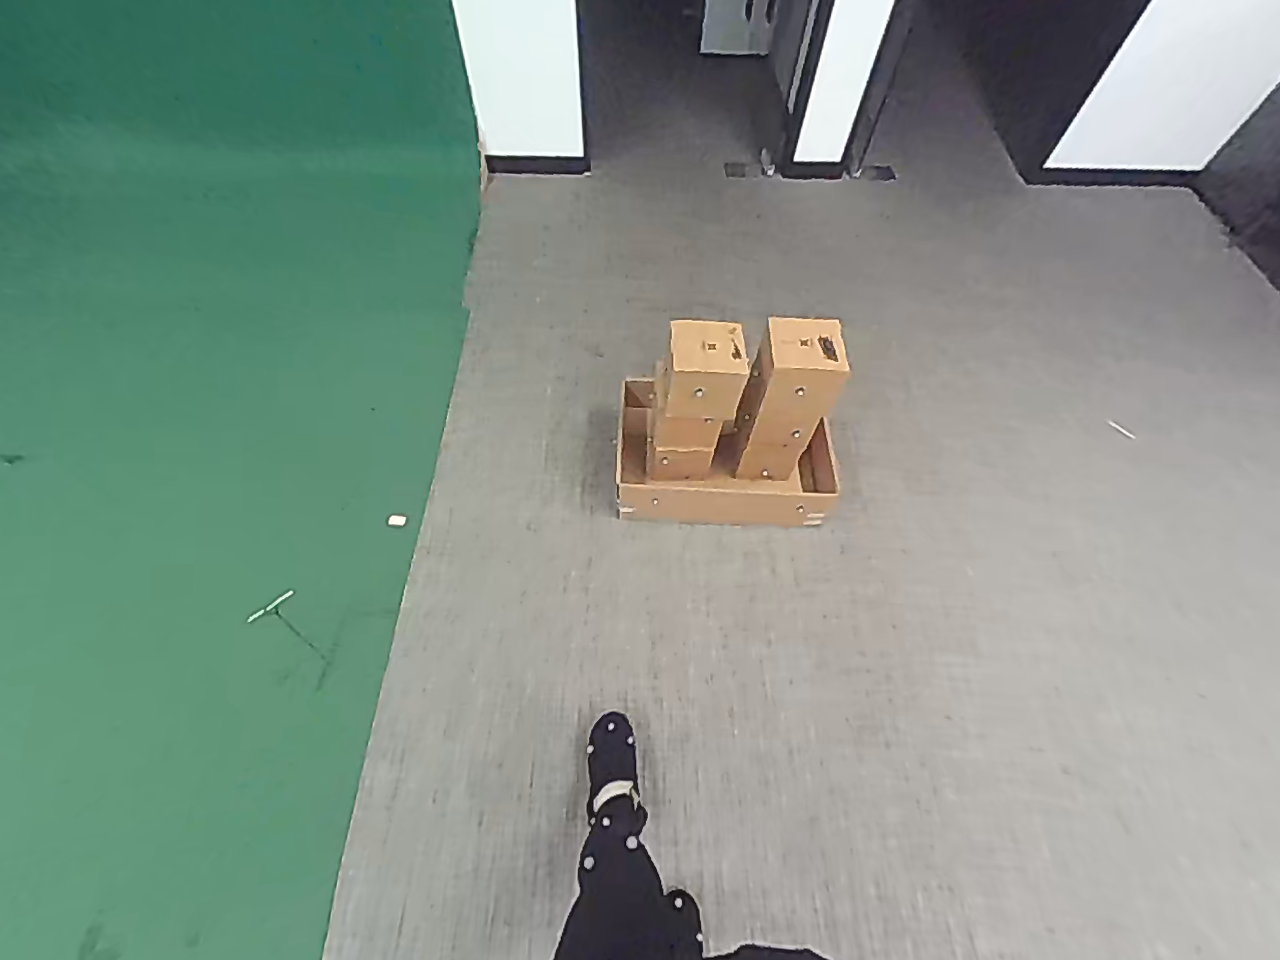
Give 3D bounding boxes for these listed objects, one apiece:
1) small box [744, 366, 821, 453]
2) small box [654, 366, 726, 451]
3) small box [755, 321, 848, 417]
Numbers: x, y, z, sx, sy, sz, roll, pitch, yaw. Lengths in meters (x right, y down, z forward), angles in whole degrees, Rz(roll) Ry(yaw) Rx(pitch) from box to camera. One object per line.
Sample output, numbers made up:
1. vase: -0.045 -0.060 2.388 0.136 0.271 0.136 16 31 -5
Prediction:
1. small box: 0.383 -0.188 1.481 0.168 0.176 0.179 2 58 0
2. small box: 0.130 -0.191 1.478 0.179 0.176 0.168 1 59 -3
3. small box: 0.391 -0.269 1.338 0.179 0.176 0.168 2 59 1
